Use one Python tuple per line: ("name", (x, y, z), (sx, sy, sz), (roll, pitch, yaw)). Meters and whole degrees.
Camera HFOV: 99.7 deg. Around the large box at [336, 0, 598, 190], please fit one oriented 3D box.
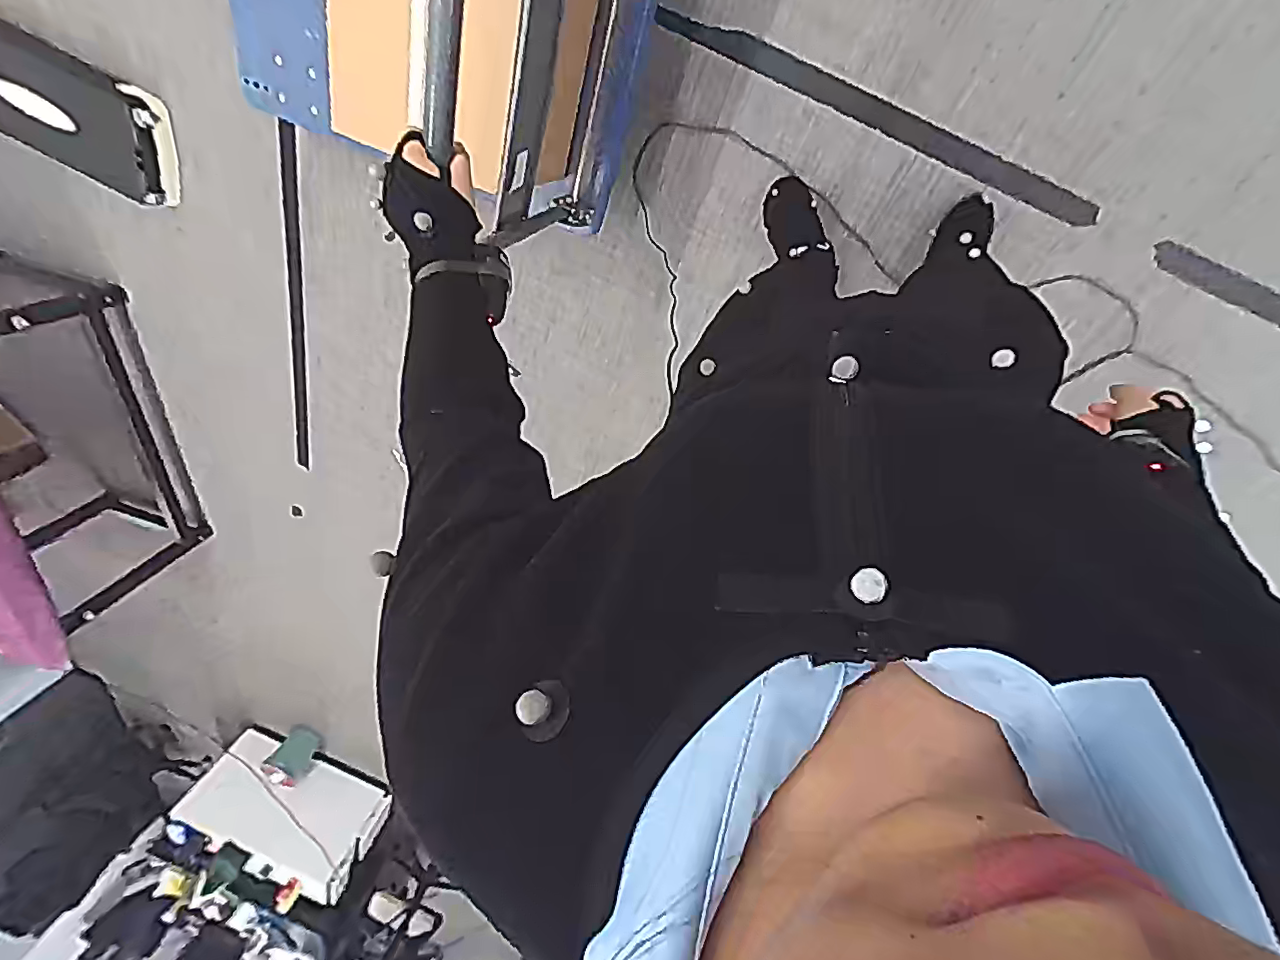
("large box", (-0.280, -0.770, 0.926), (0.320, 0.320, 0.408), (22, 125, 2))
